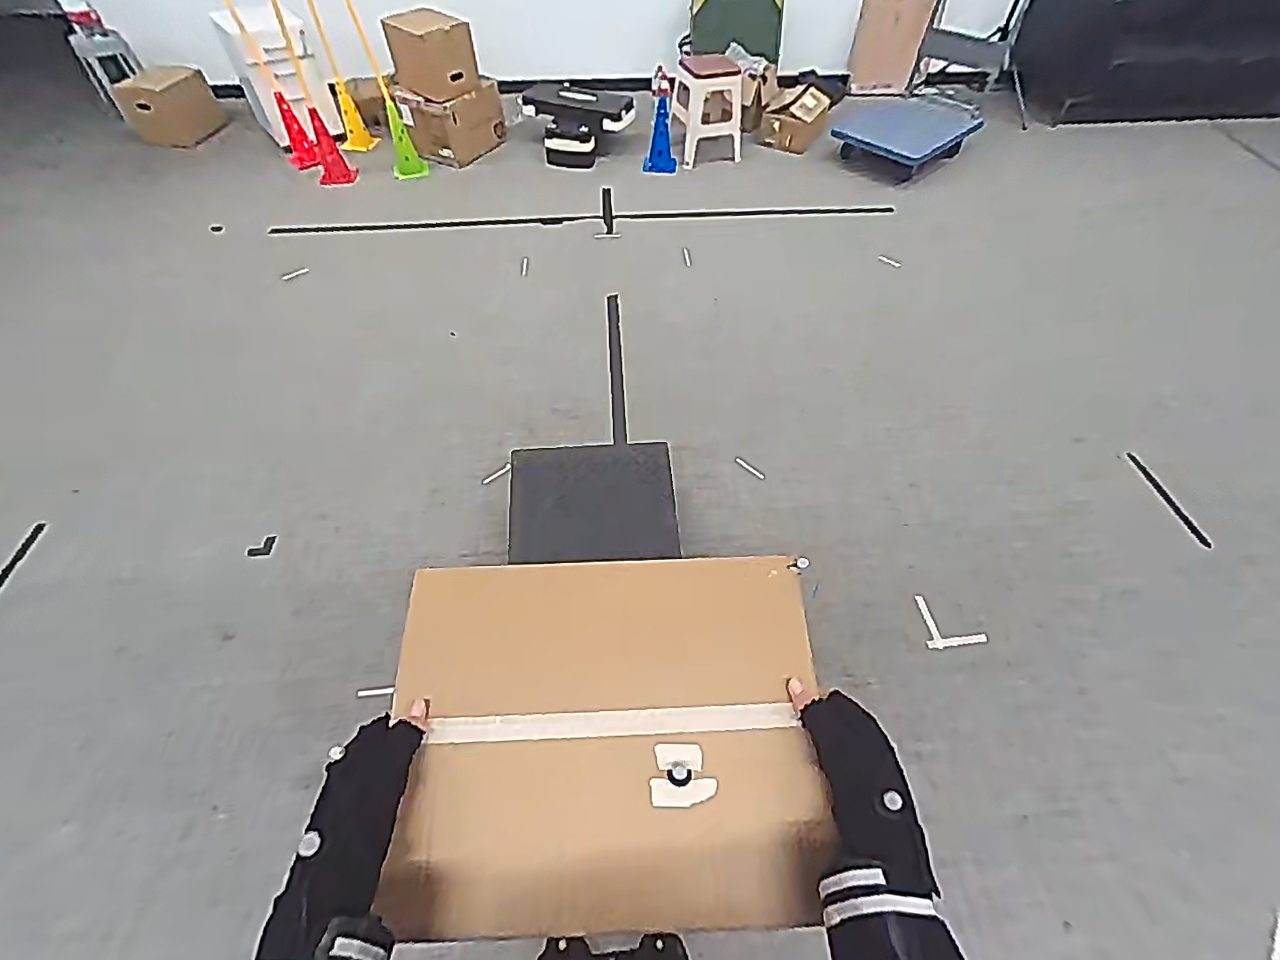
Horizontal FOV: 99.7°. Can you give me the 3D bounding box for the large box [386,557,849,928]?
[{"bbox_3d":[-0.025,0.299,0.656,0.408,0.320,0.320,-2,63,0],"label":"large box"}]
